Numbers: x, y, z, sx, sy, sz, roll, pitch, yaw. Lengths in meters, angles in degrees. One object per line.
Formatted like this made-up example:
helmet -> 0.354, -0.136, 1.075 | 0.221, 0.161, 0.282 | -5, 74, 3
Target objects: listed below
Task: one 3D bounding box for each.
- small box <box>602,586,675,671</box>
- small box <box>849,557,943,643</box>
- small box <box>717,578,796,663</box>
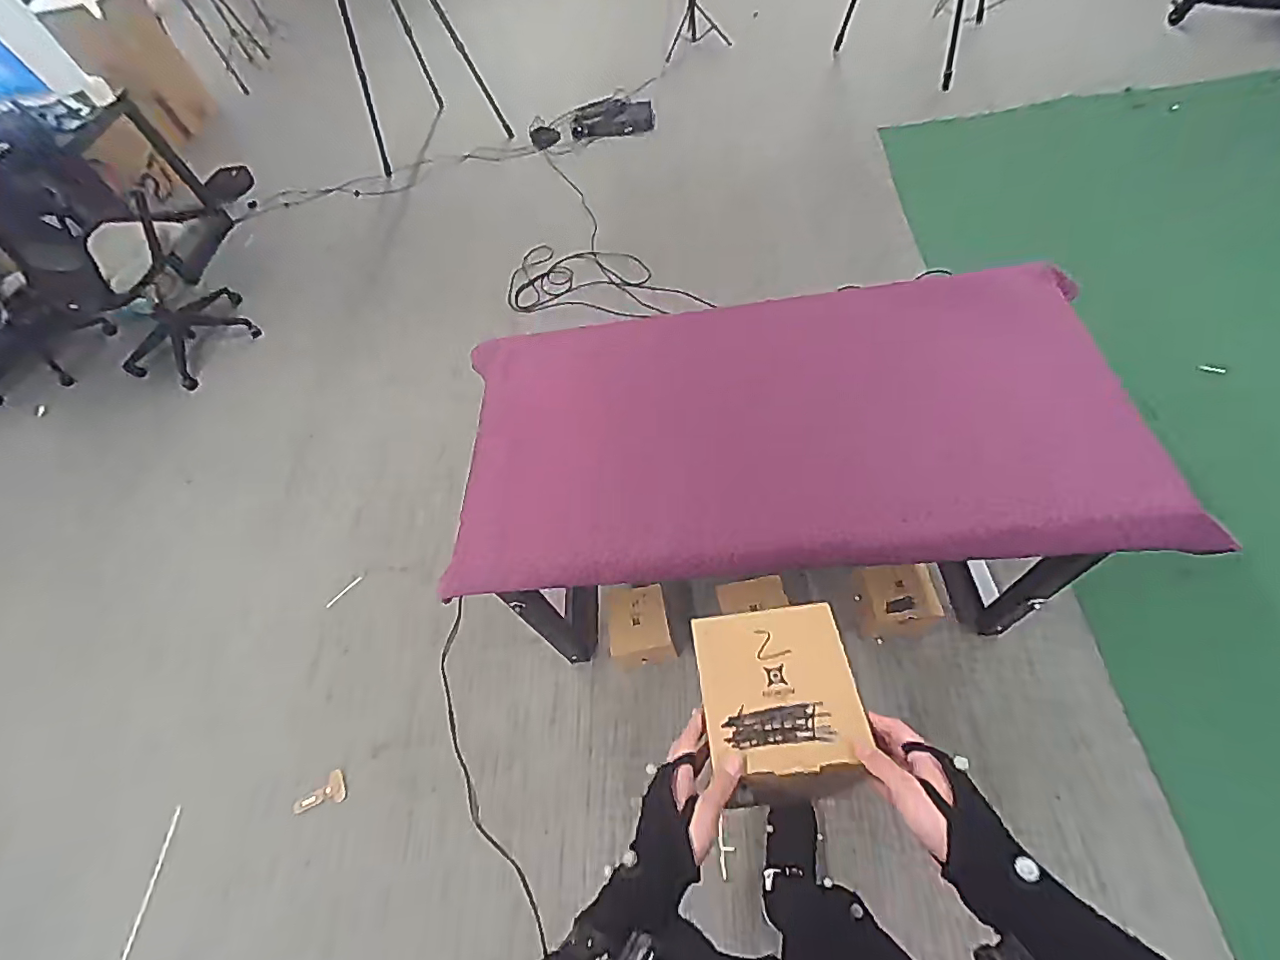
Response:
small box -> -0.001, 0.422, 1.510 | 0.168, 0.176, 0.179 | -12, 56, 2
small box -> 0.675, 0.328, 1.447 | 0.168, 0.176, 0.179 | -7, 56, 5
small box -> 0.313, 0.387, 1.477 | 0.179, 0.176, 0.168 | -11, 55, 4
